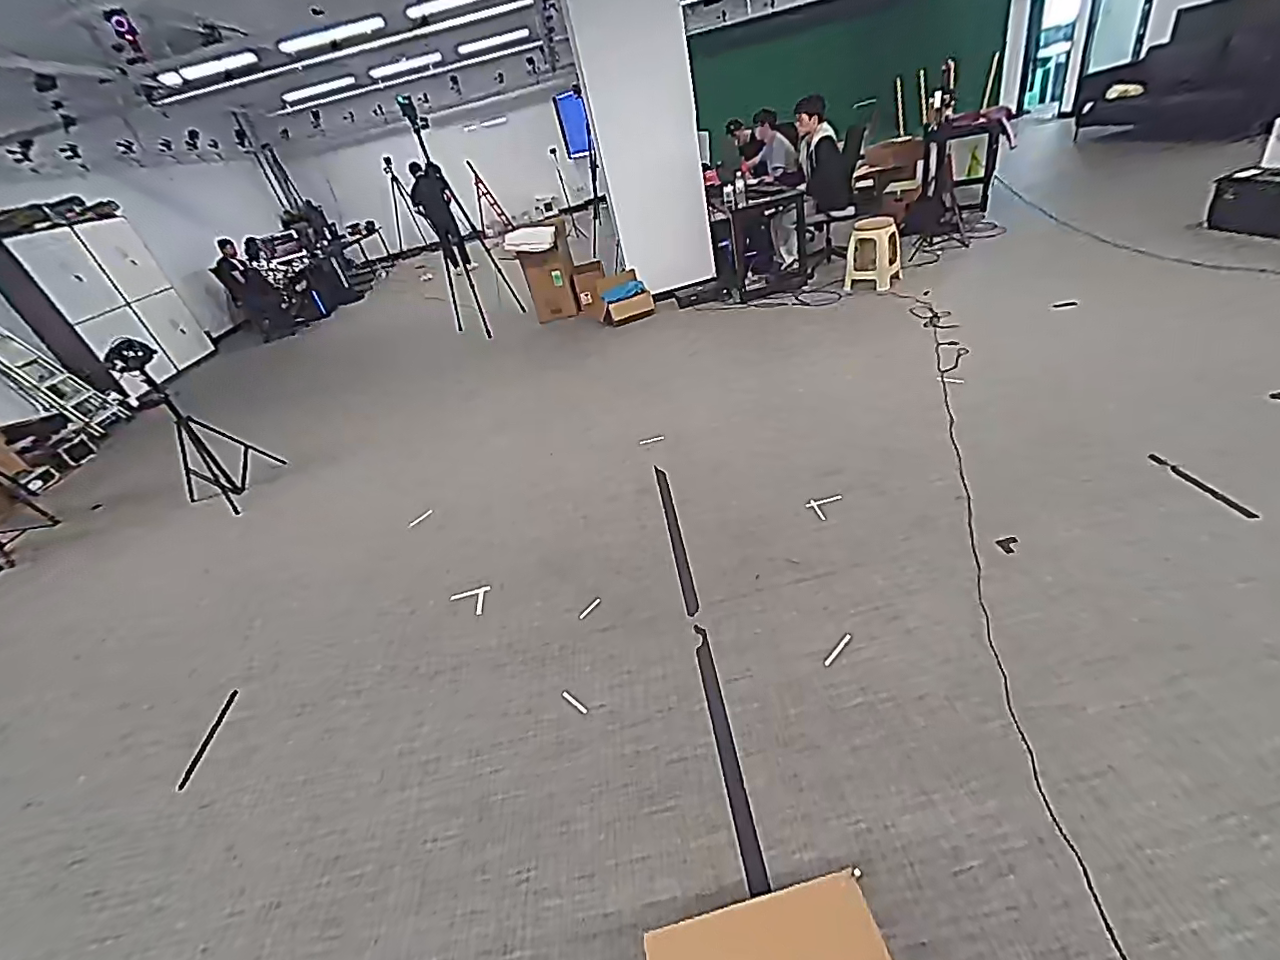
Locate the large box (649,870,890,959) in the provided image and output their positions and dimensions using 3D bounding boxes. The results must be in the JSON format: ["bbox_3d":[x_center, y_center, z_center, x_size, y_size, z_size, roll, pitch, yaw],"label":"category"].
[{"bbox_3d":[0.263,0.986,0.956,0.408,0.320,0.320,-16,33,-2],"label":"large box"}]
